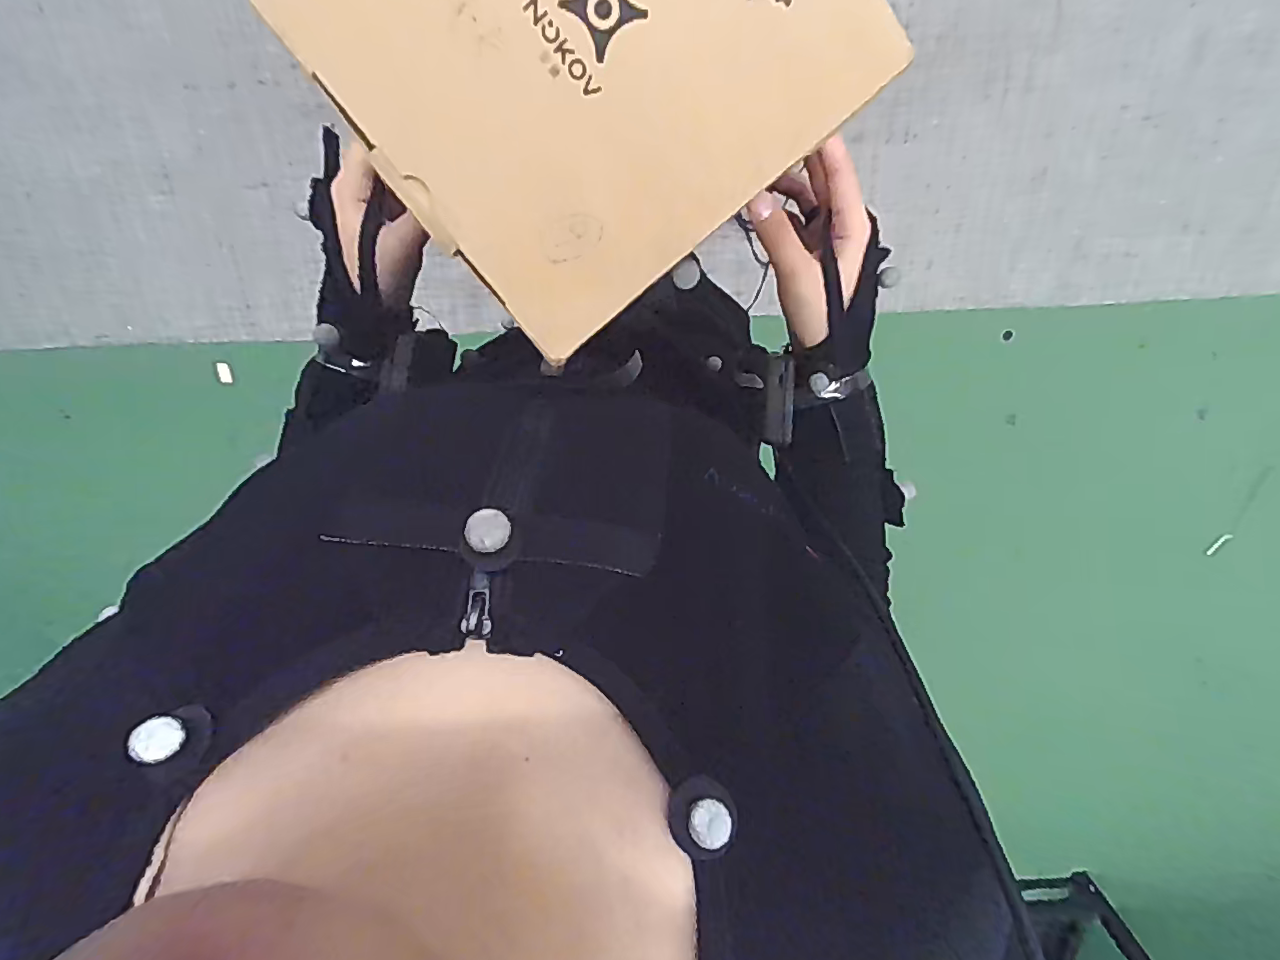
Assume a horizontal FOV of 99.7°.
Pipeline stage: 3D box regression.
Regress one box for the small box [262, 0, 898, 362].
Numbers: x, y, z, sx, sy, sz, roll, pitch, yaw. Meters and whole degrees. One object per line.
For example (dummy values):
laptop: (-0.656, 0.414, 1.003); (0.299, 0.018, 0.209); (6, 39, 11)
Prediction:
small box: (-0.019, -0.184, 0.270); (0.179, 0.176, 0.168); (-37, 105, 13)
